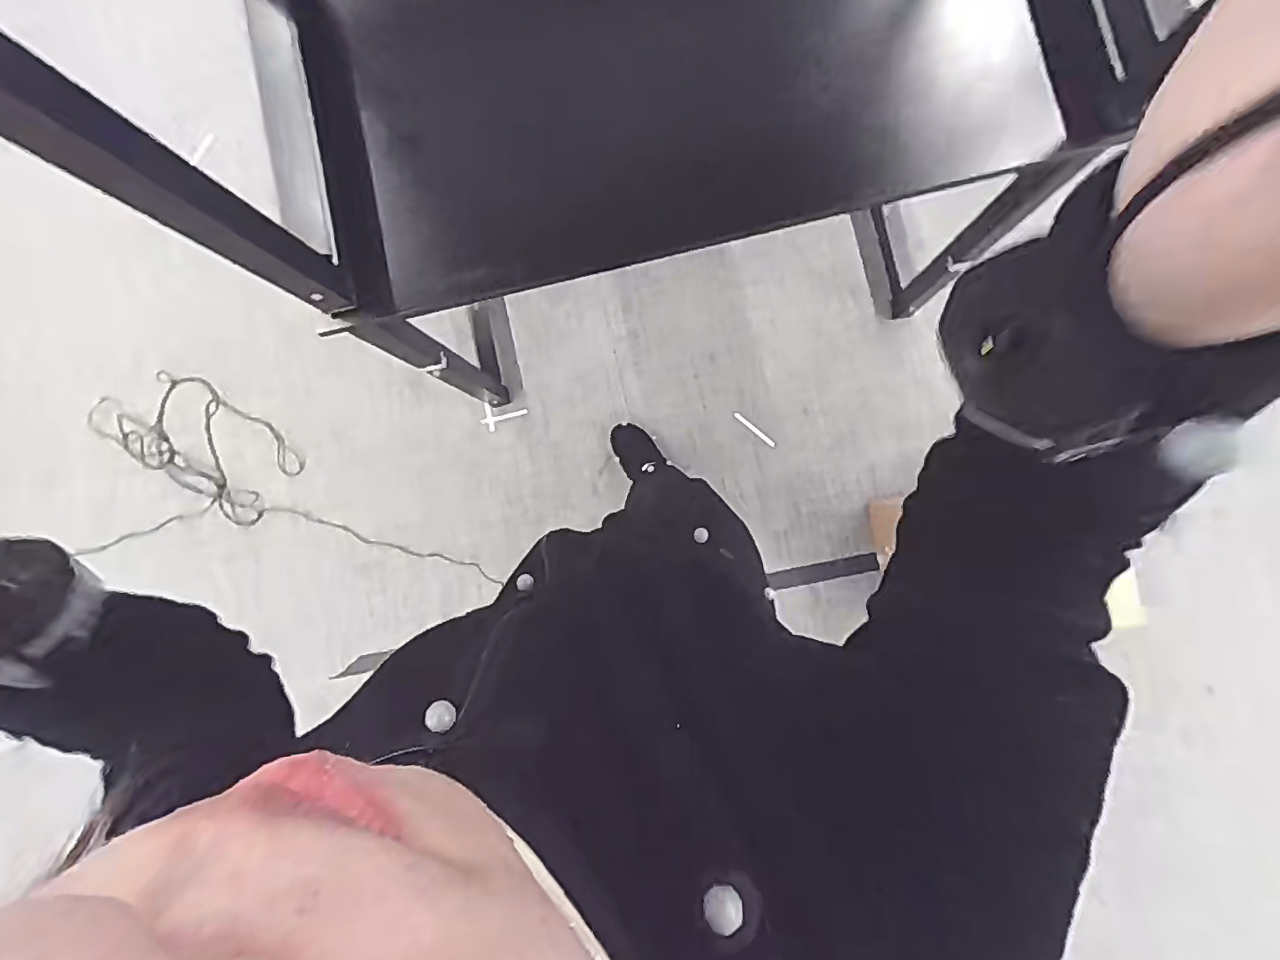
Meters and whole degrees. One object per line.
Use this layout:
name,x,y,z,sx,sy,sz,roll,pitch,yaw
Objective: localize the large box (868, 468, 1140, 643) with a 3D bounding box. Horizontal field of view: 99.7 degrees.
large box,0.816,0.165,1.274,0.408,0.320,0.320,-9,88,3
